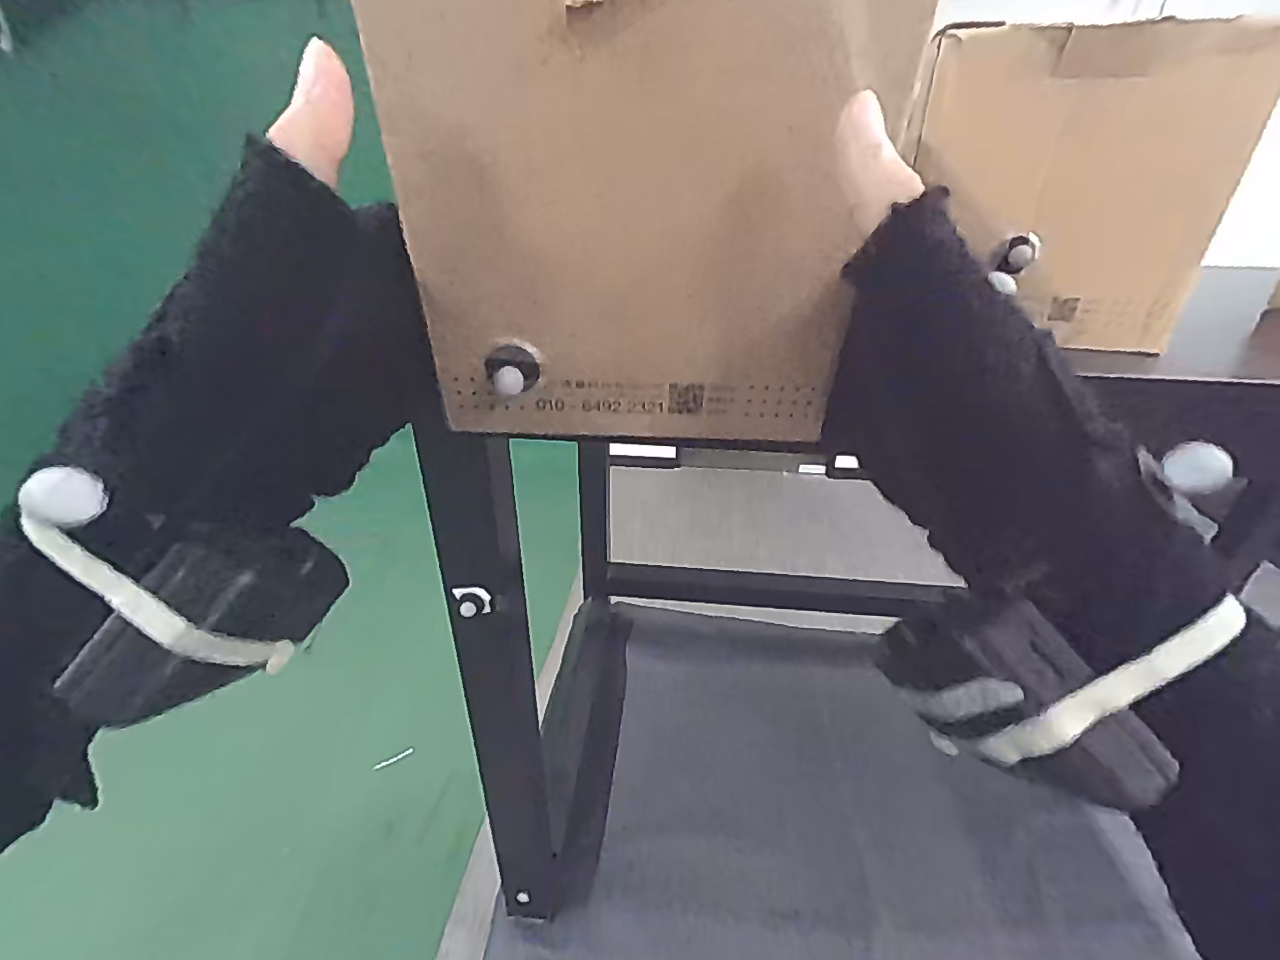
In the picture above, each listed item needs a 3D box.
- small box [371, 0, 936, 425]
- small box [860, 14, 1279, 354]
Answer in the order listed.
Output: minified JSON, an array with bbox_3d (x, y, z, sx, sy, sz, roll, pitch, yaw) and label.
[{"bbox_3d":[0.006,-0.138,0.253,0.168,0.176,0.179,2,38,-1],"label":"small box"},{"bbox_3d":[0.265,-0.199,0.385,0.168,0.176,0.179,8,29,12],"label":"small box"}]
